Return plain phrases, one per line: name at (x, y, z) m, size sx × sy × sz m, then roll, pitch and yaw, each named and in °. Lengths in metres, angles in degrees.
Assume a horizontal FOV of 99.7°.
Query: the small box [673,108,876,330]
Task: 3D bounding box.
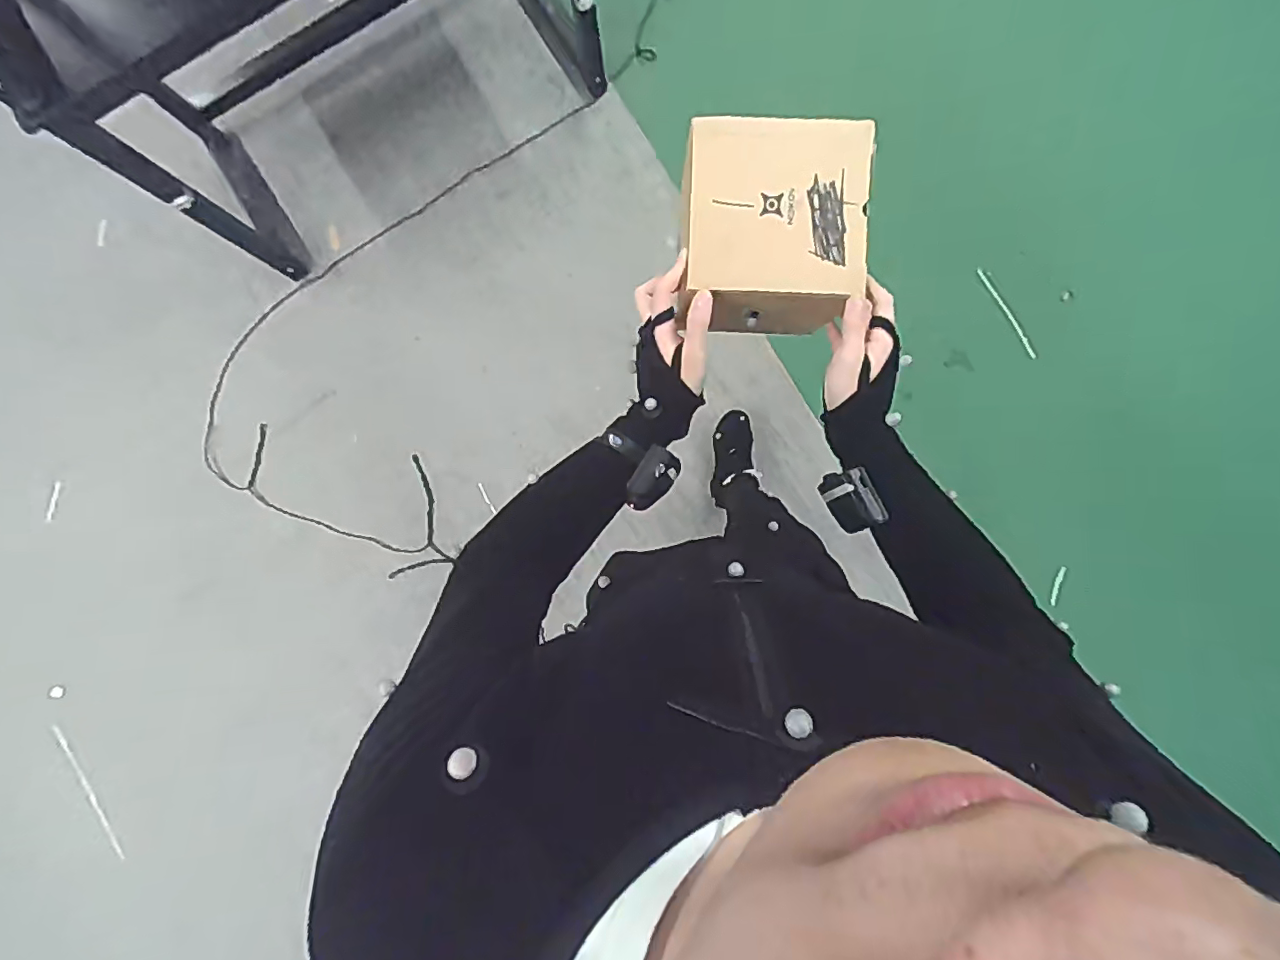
small box at (0.131, -0.266, 0.587) m, size 0.179 × 0.176 × 0.168 m, roll 2°, pitch 92°, yaw 1°
